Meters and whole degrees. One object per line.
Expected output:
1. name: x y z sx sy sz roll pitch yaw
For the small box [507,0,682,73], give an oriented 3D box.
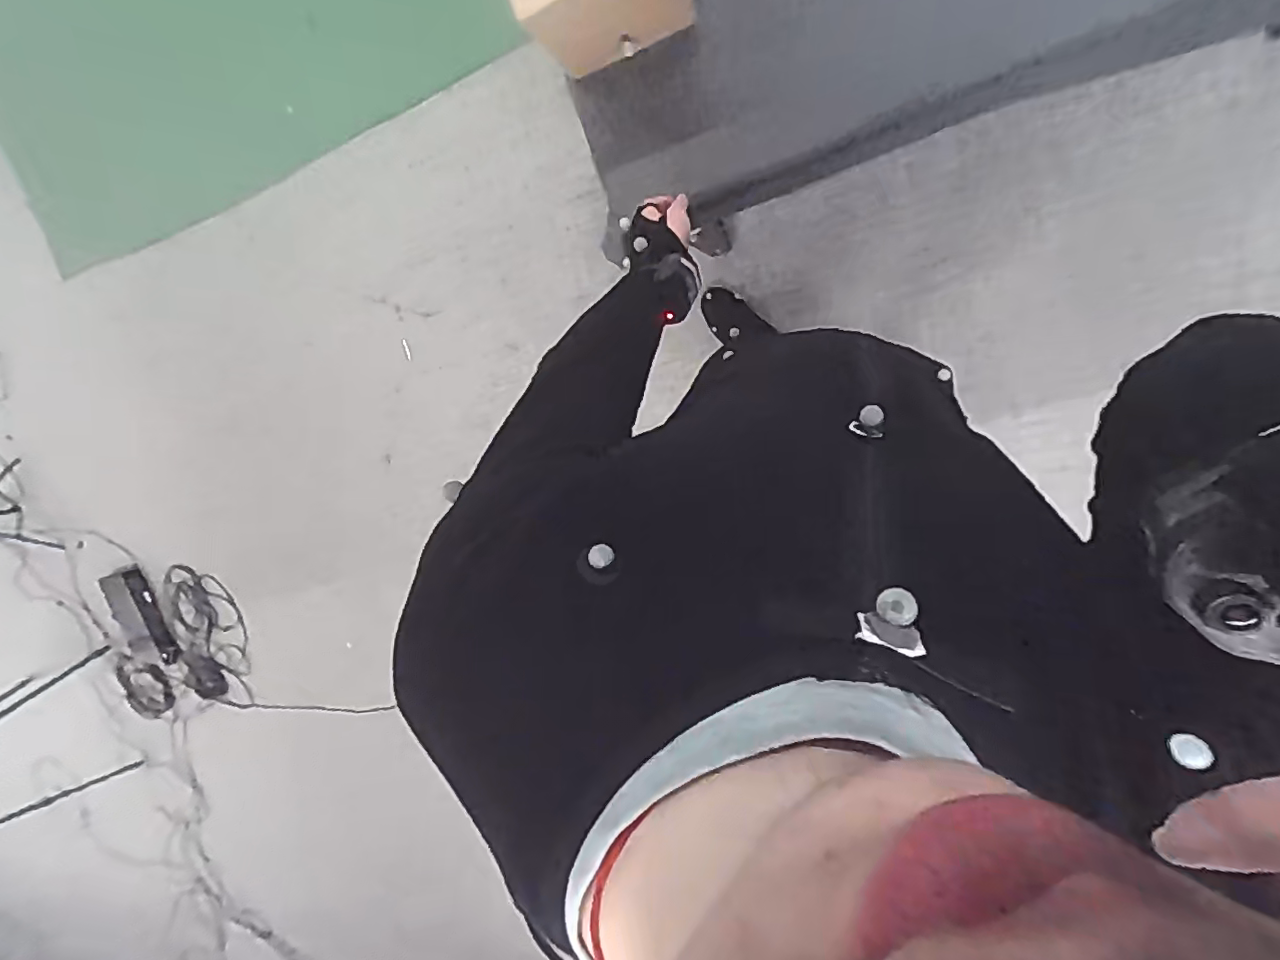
1. small box: -0.057 -0.607 0.606 0.179 0.176 0.168 -12 103 19
